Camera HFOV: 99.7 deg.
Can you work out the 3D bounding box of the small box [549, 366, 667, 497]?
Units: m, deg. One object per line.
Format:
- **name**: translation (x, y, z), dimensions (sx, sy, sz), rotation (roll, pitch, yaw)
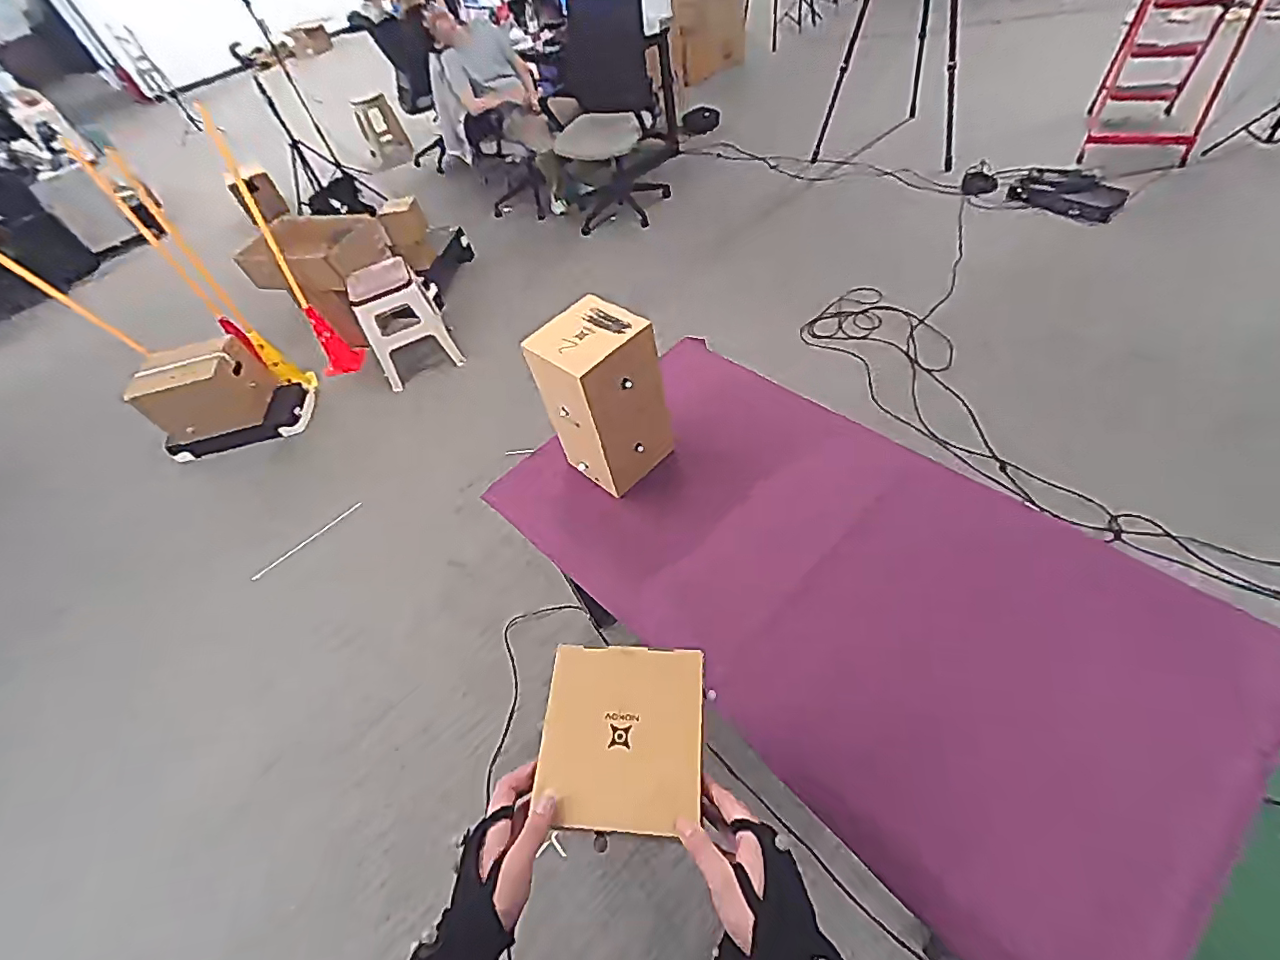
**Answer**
- **small box**: translation (-0.057, -0.100, 1.127), dimensions (0.168, 0.176, 0.179), rotation (34, 65, 32)
